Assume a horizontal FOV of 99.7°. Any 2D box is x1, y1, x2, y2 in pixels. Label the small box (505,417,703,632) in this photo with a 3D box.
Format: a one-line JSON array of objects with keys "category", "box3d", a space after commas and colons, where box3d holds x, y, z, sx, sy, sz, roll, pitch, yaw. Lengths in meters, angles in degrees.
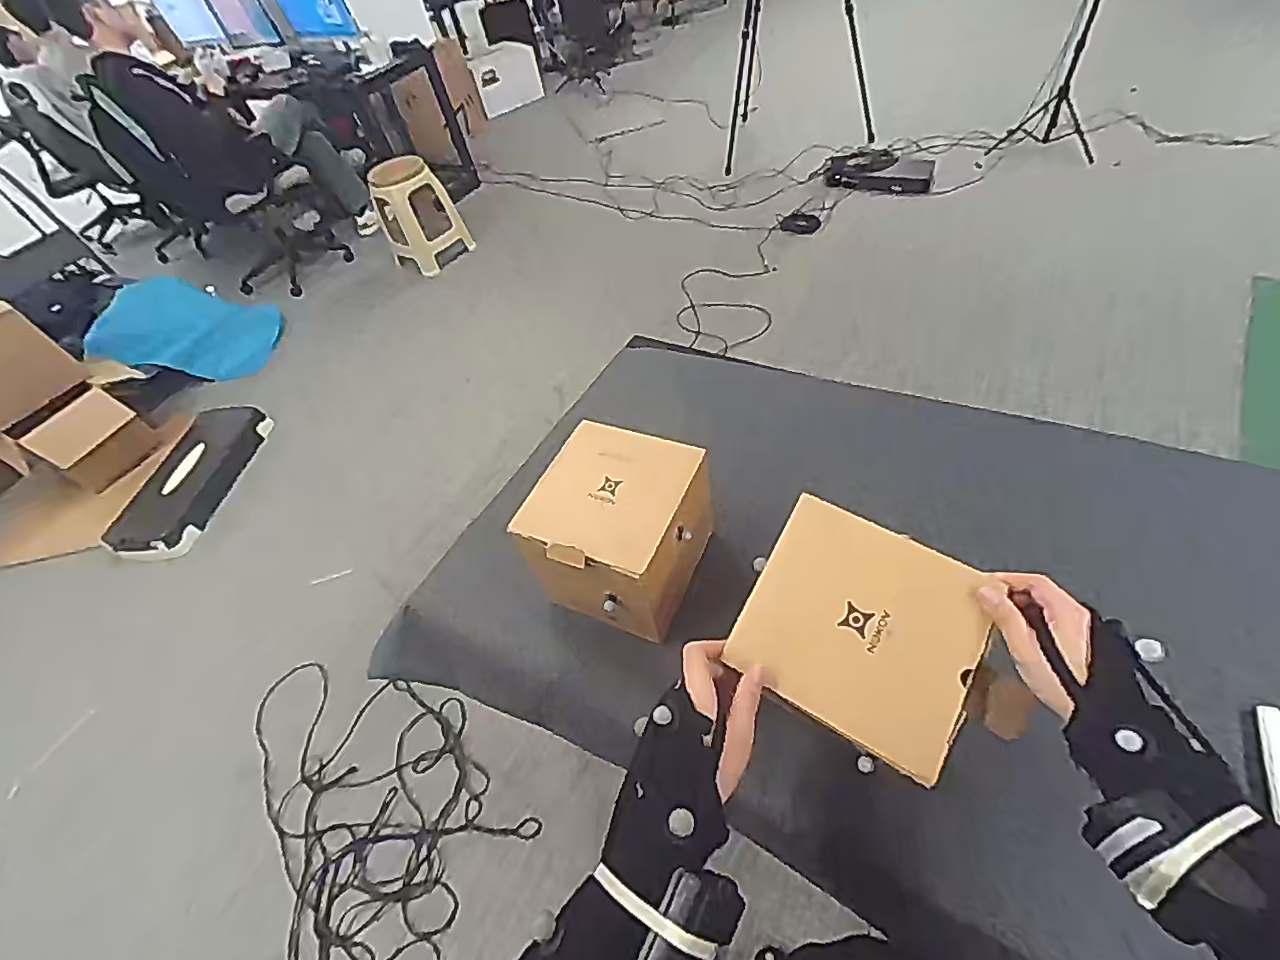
[{"category": "small box", "box3d": [-0.027, 0.055, 0.653, 0.168, 0.176, 0.179, 16, 55, 21]}]
